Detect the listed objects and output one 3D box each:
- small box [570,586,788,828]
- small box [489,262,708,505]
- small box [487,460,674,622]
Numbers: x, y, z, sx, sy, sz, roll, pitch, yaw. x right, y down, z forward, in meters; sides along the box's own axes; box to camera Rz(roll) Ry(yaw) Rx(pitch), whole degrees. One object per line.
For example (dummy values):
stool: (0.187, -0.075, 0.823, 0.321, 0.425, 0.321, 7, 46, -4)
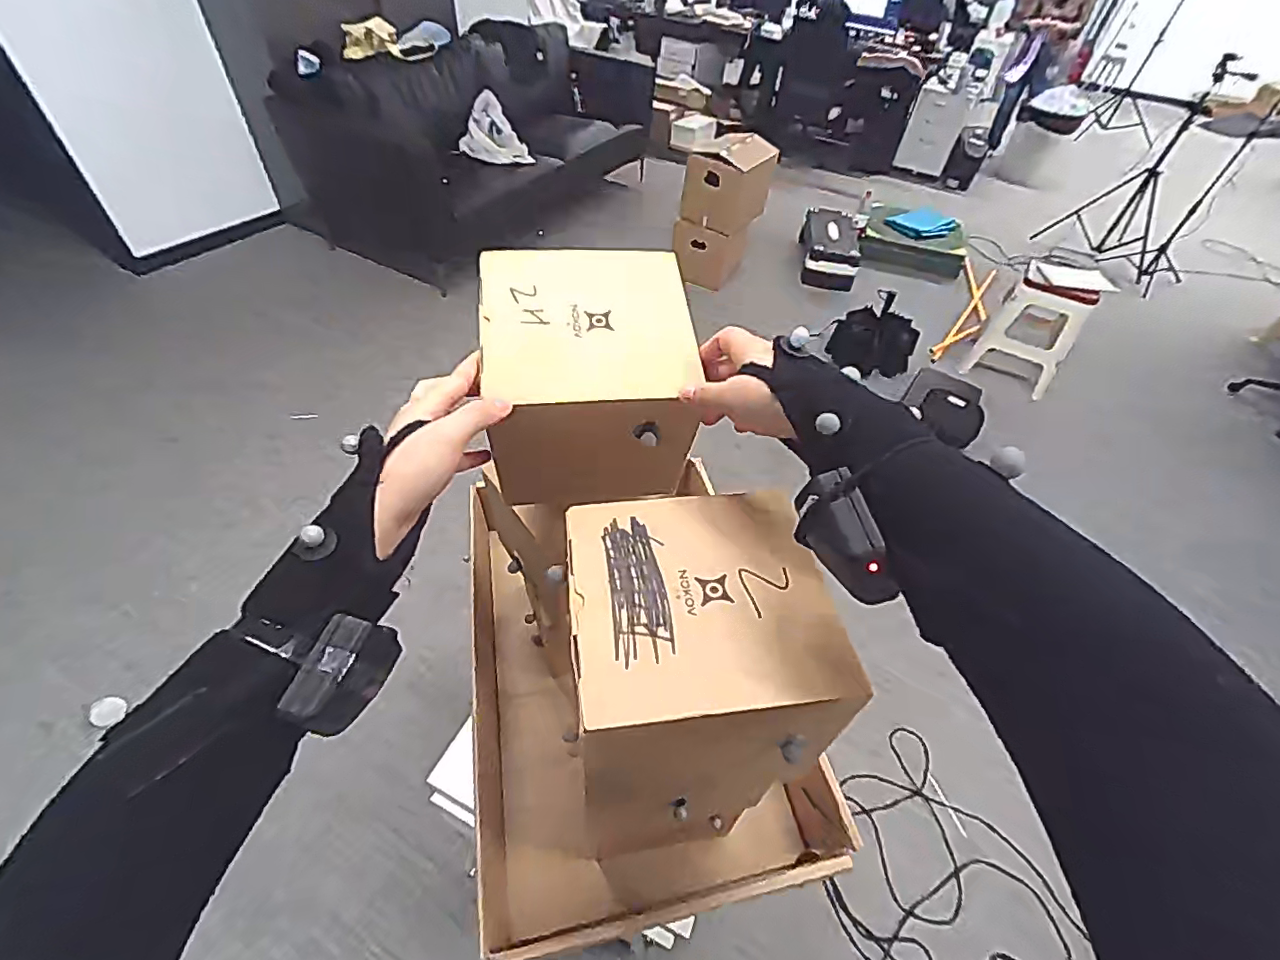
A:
small box: (0.025, 0.233, 0.557, 0.179, 0.176, 0.168, -7, 46, -9)
small box: (-0.049, -0.088, 0.530, 0.179, 0.176, 0.168, -4, 61, -9)
small box: (-0.078, 0.051, 0.720, 0.179, 0.176, 0.168, -29, 55, -25)
